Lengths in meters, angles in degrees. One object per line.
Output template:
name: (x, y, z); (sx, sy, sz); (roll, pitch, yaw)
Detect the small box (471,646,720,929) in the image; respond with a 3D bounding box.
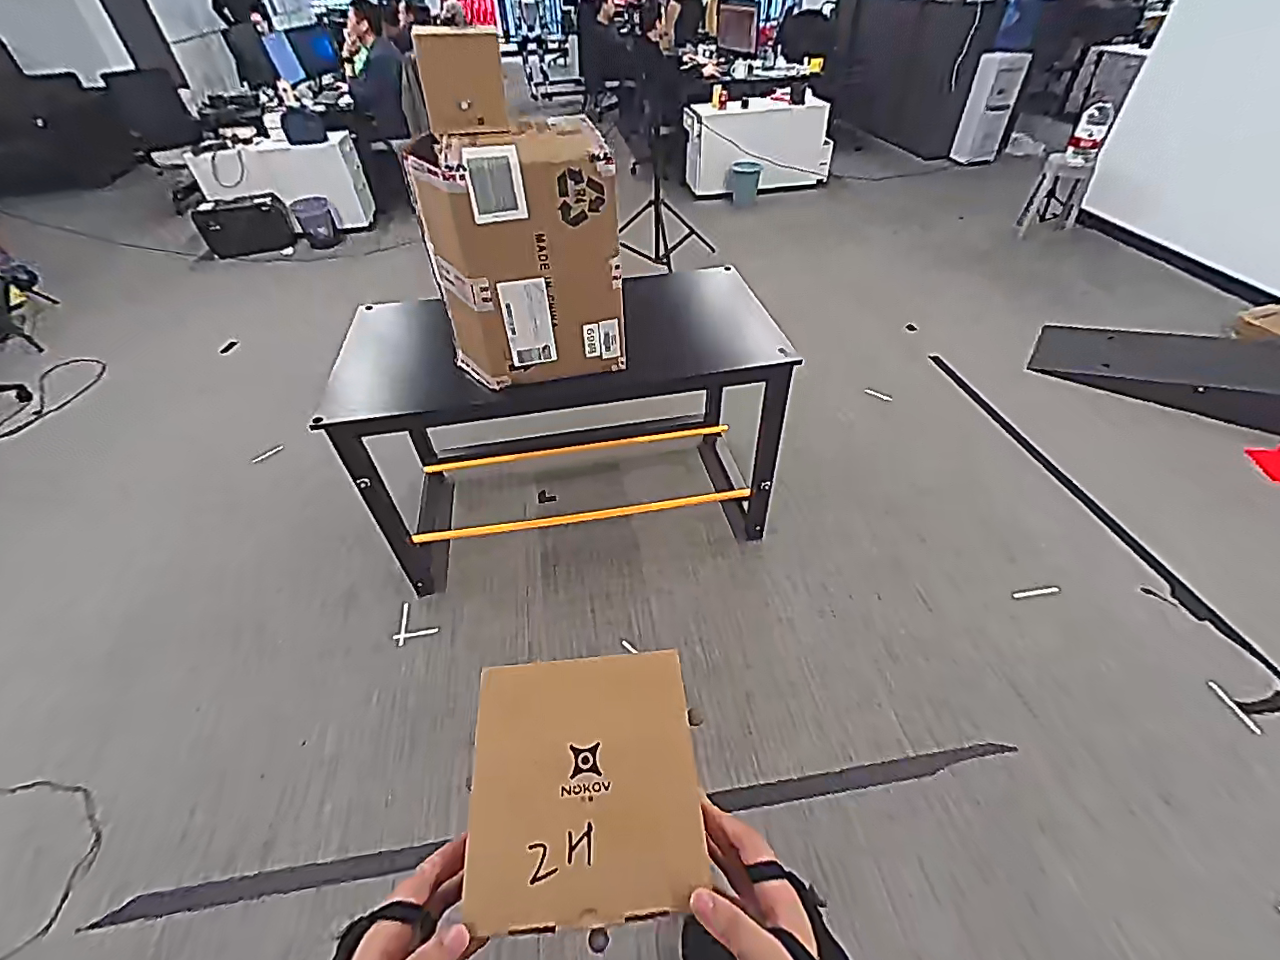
small box: (-0.035, 0.264, 0.465); (0.168, 0.176, 0.179); (-5, 50, -3)

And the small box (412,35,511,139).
small box: (-0.378, -0.843, 1.159); (0.168, 0.176, 0.179); (-11, 43, -11)
